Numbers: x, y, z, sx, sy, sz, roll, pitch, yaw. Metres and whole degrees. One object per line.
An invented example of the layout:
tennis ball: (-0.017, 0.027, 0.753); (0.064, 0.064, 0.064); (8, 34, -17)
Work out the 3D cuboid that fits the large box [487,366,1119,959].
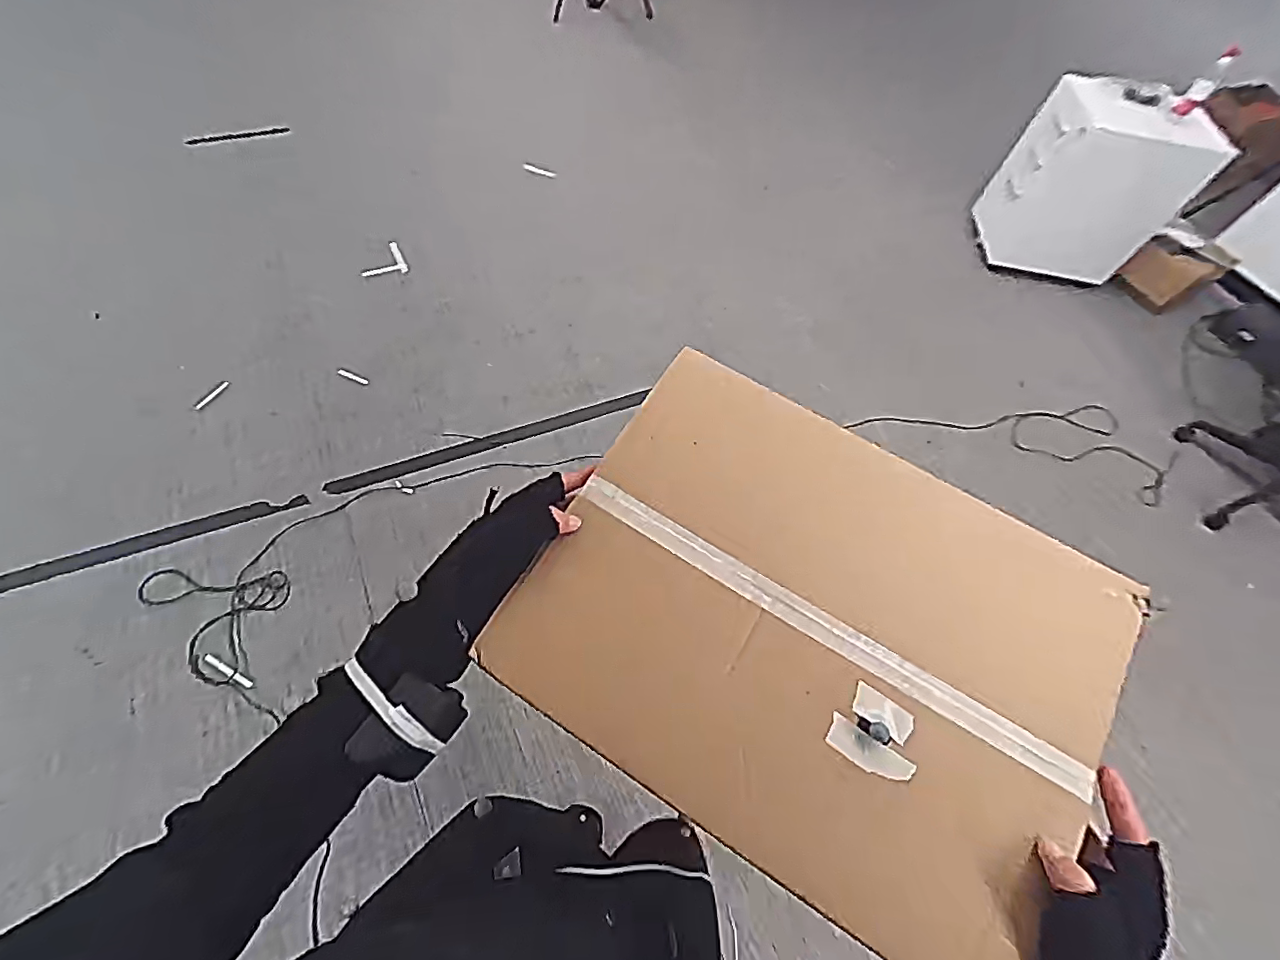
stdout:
large box: (0.128, 0.161, 0.553); (0.408, 0.320, 0.320); (31, 73, 11)
